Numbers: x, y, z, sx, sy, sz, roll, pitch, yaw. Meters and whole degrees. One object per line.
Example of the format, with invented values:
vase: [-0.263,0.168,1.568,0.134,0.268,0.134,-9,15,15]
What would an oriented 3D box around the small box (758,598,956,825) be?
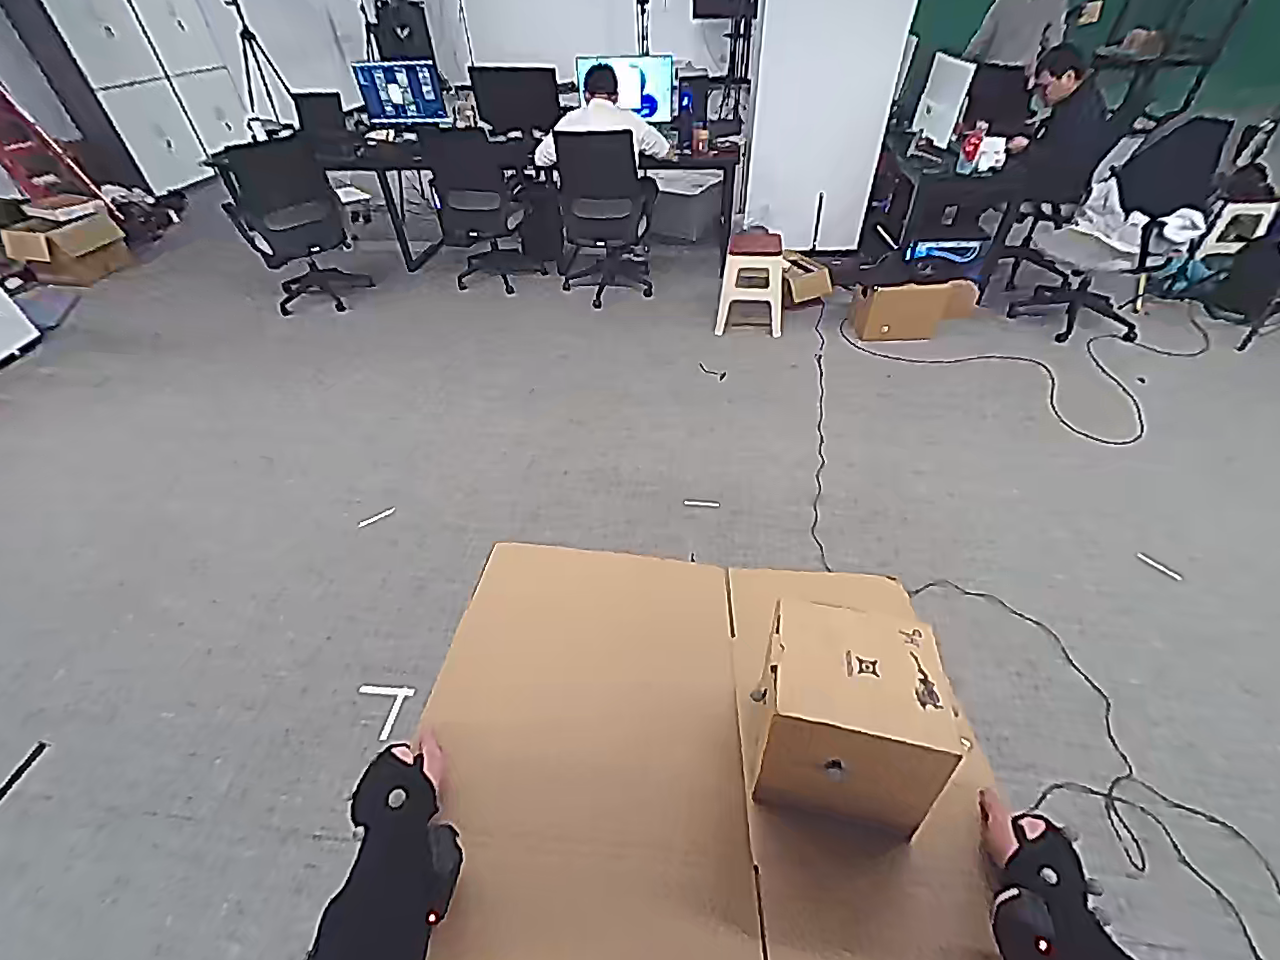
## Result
small box: [0.237,0.268,0.635,0.179,0.176,0.168,8,35,12]
